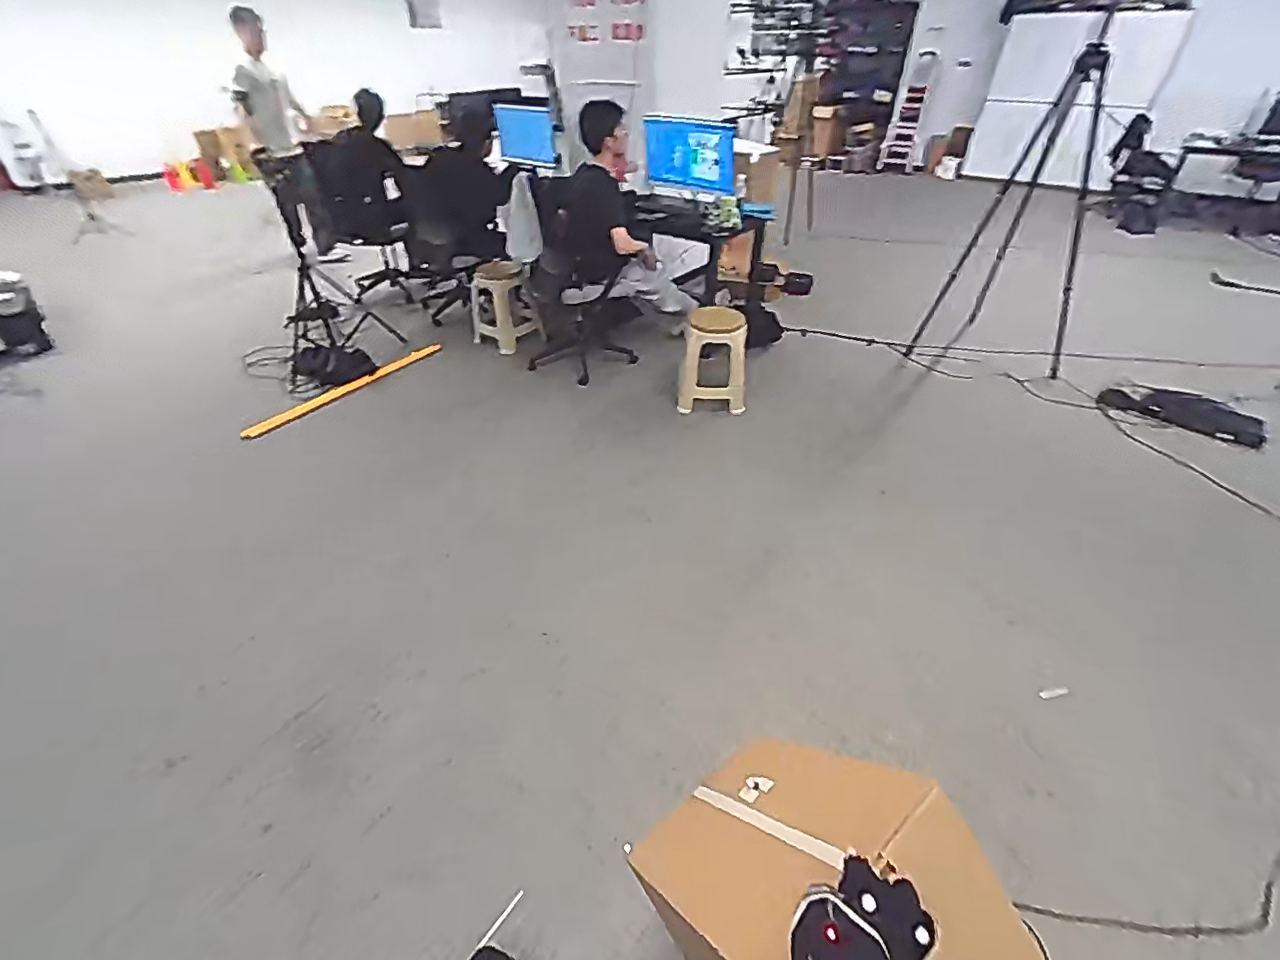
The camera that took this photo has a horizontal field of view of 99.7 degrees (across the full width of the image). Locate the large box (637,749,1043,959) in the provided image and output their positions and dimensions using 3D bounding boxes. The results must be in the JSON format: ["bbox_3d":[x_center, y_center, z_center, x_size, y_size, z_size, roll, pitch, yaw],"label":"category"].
[{"bbox_3d":[0.261,0.636,0.762,0.320,0.408,0.320,-27,83,-27],"label":"large box"}]
